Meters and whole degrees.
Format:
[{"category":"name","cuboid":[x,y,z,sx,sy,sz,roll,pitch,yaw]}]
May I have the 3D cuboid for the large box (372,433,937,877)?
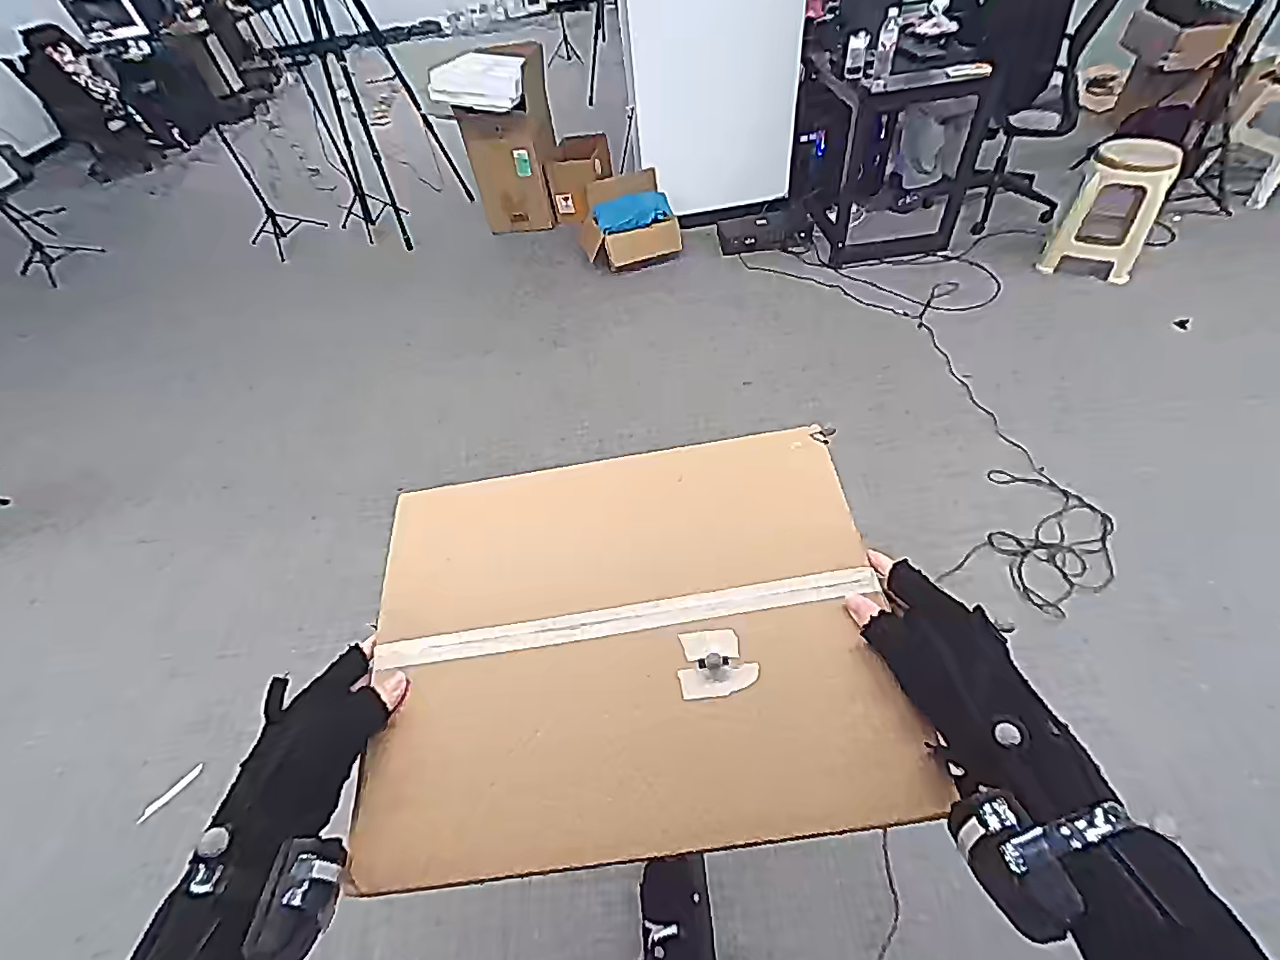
[{"category":"large box","cuboid":[0.005,0.193,0.573,0.408,0.320,0.320,-9,58,2]}]
